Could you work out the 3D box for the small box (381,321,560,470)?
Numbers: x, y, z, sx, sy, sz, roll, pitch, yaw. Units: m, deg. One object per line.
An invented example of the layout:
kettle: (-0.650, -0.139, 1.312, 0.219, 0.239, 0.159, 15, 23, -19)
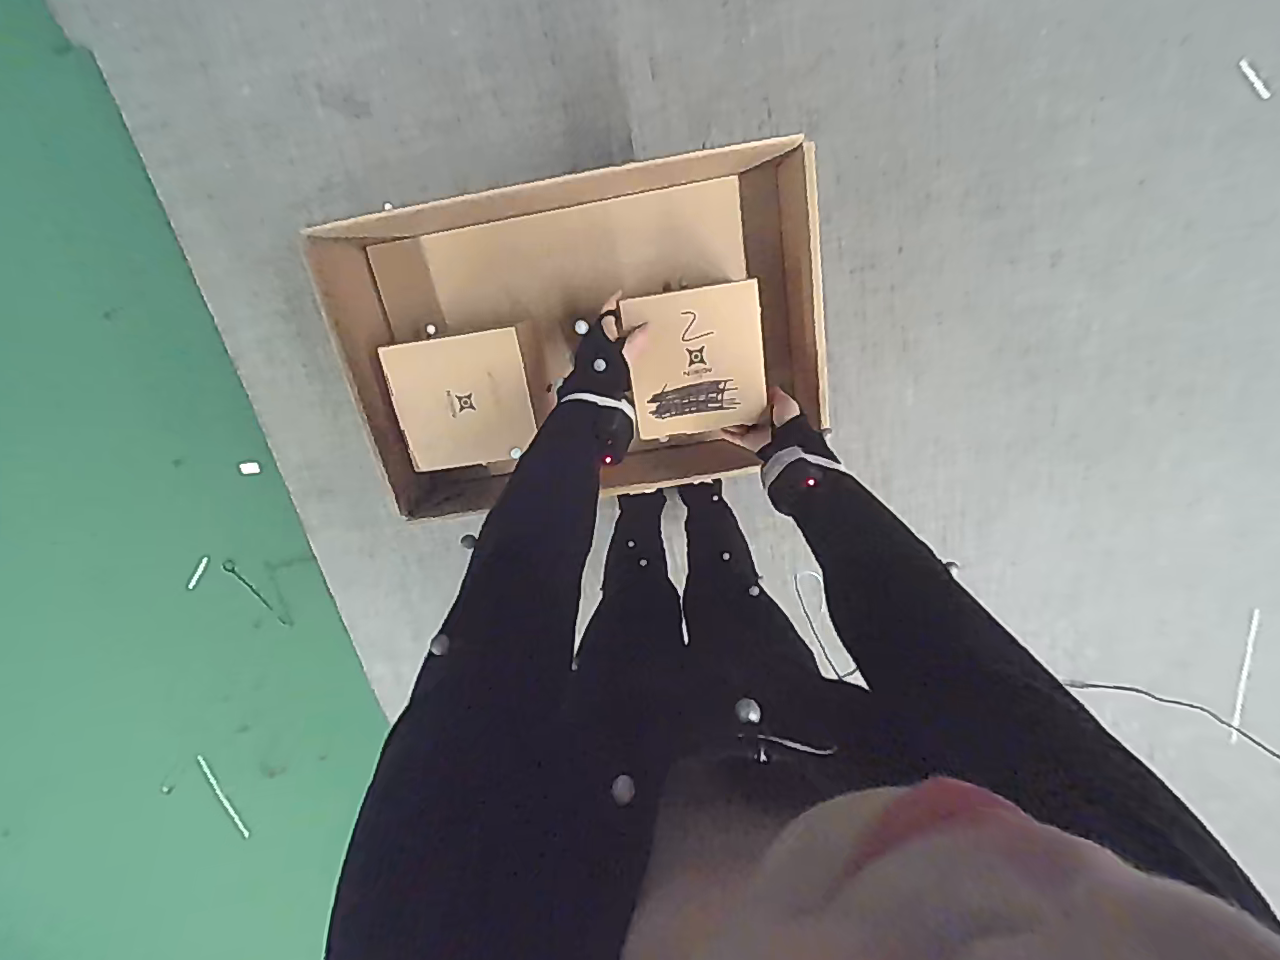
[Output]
small box: (-0.221, -0.125, 0.755, 0.179, 0.176, 0.168, -8, 109, 3)
